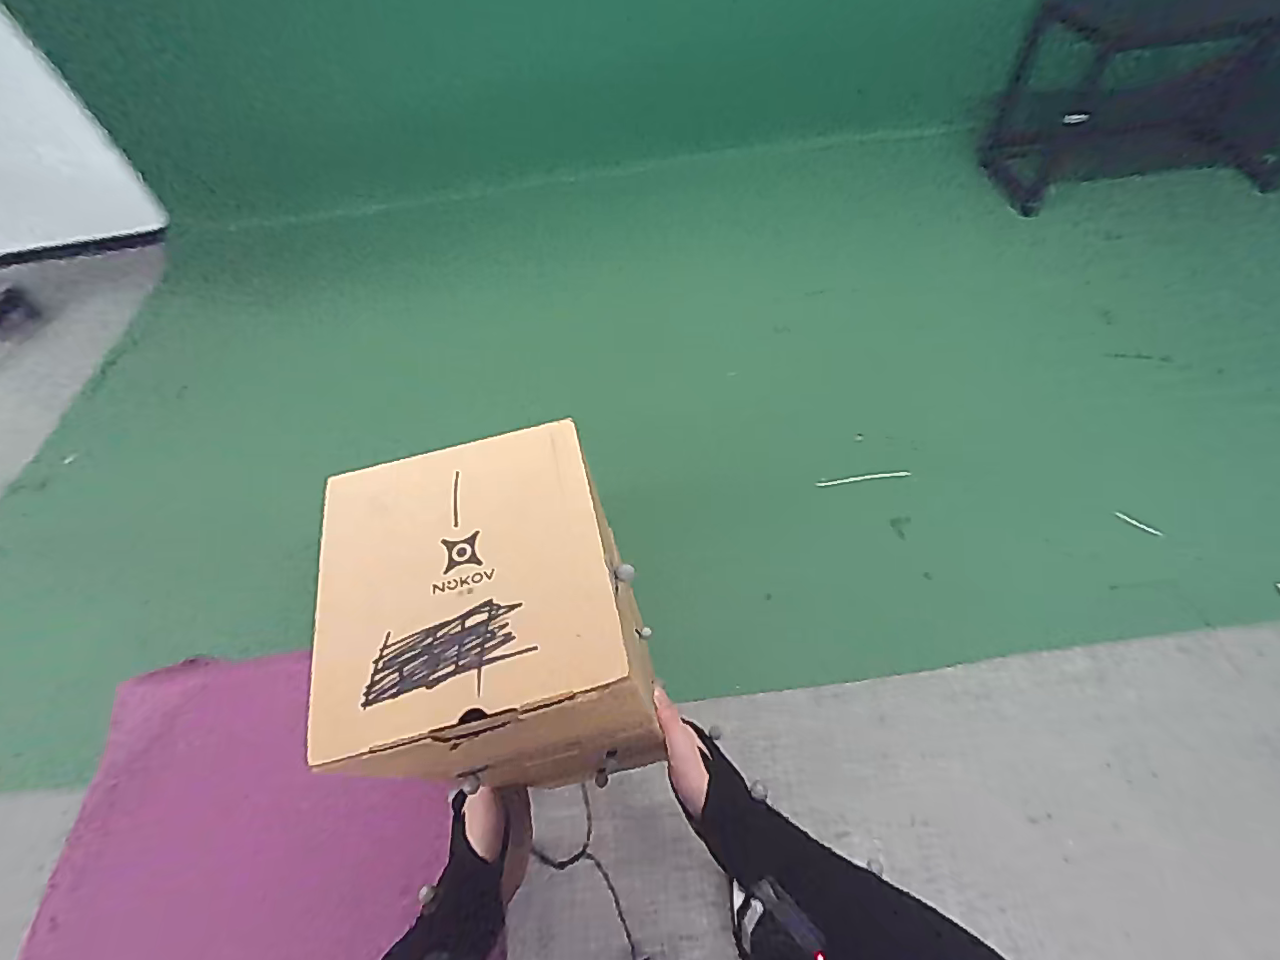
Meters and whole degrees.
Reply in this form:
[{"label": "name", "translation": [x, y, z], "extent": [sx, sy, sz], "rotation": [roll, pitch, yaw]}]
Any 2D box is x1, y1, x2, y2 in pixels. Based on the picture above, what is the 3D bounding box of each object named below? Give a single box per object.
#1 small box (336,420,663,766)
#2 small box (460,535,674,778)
[{"label": "small box", "translation": [-0.082, 0.090, 0.381], "extent": [0.168, 0.176, 0.179], "rotation": [-13, 57, -3]}, {"label": "small box", "translation": [-0.065, 0.175, 0.520], "extent": [0.168, 0.176, 0.179], "rotation": [-12, 58, -2]}]
